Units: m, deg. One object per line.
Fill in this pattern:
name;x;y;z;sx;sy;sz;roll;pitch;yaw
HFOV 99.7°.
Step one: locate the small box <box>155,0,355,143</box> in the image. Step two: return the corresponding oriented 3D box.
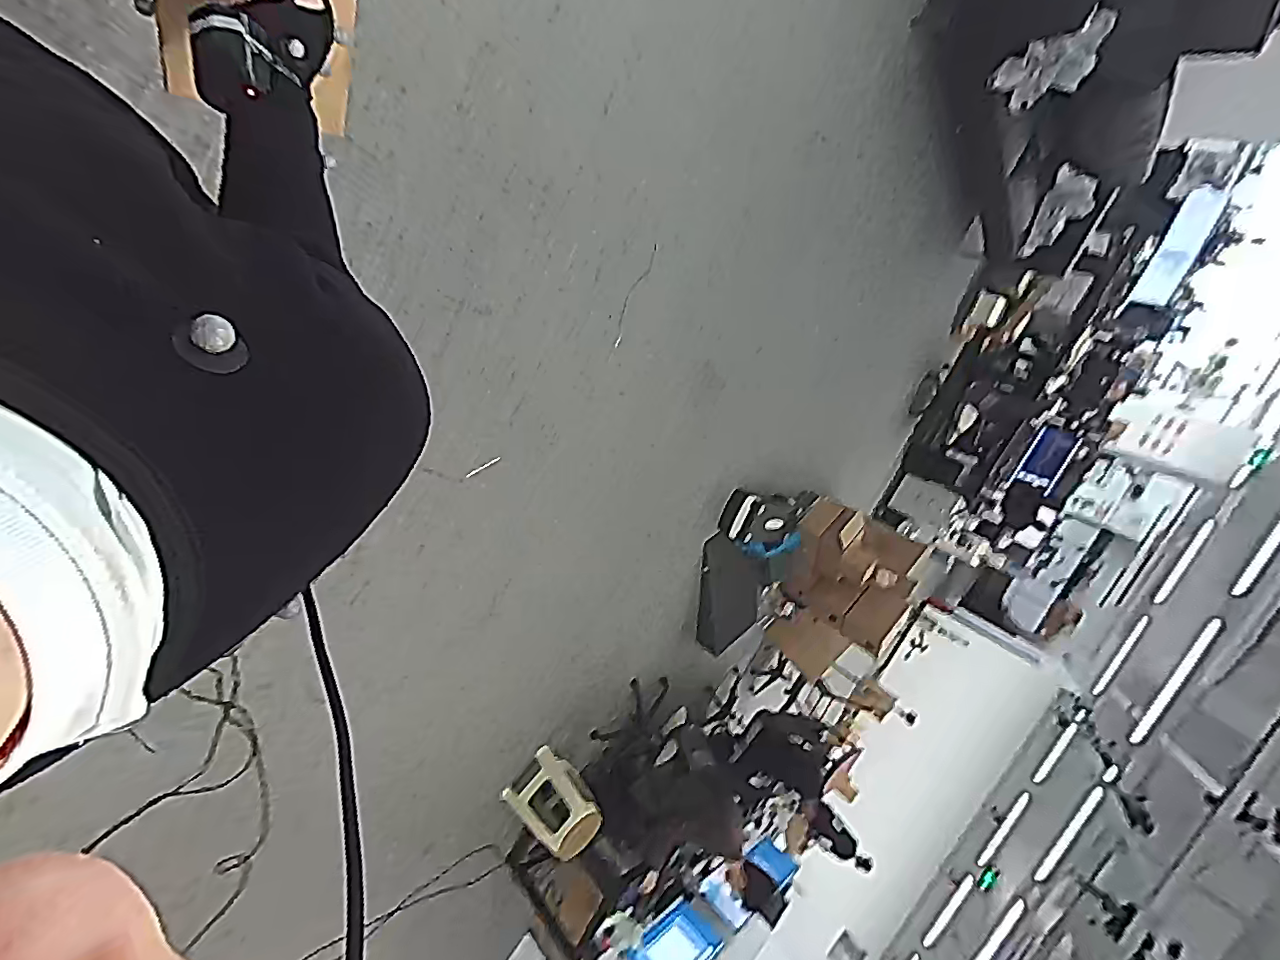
small box;-0.427;-0.513;0.597;0.168;0.179;0.176;-11;152;-38
